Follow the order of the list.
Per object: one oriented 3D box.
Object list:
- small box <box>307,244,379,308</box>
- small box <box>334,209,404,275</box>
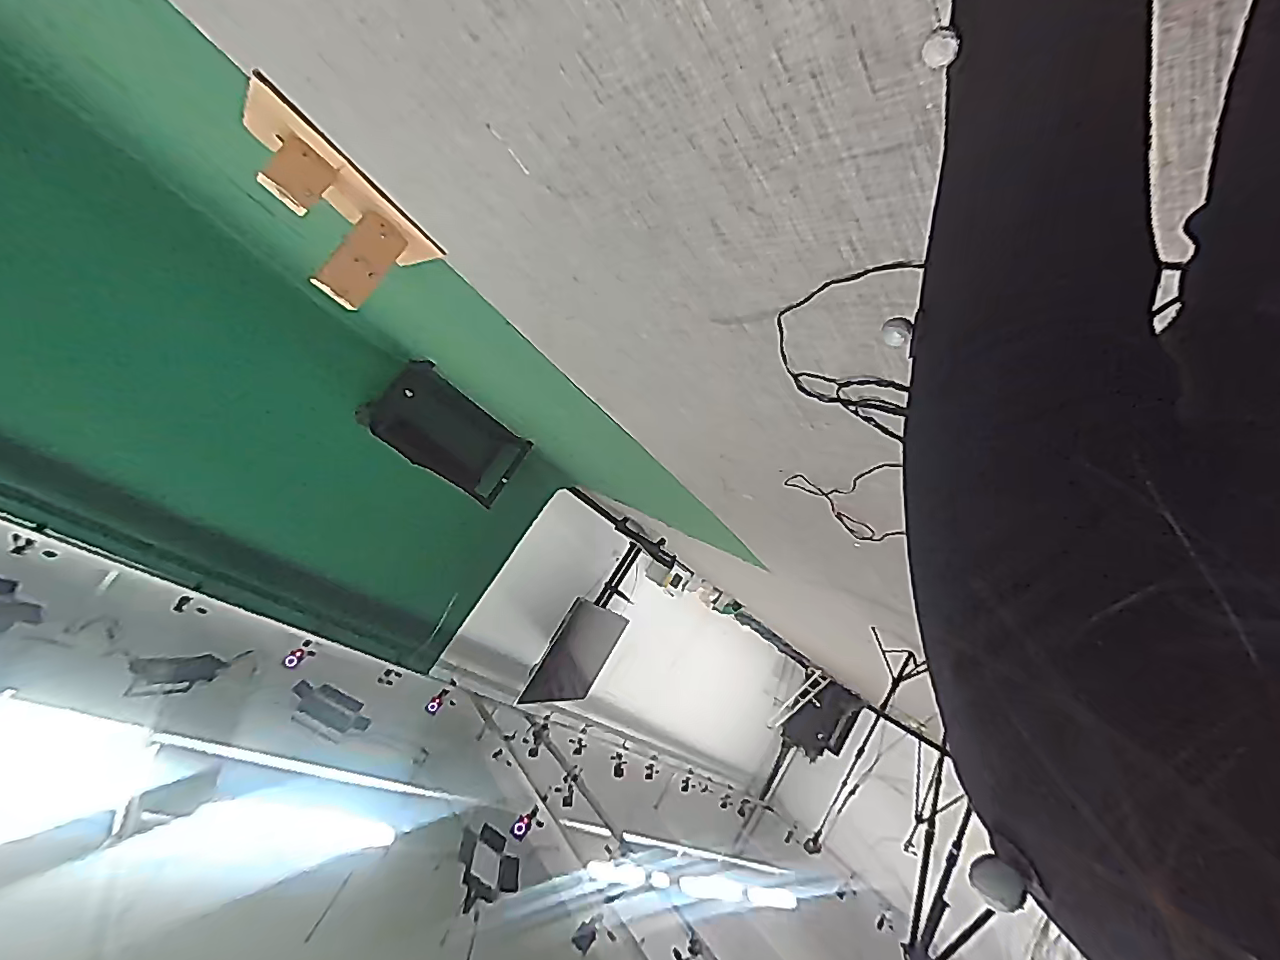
[{"bbox_3d":[-1.137,-0.782,2.075,0.179,0.176,0.168,23,167,49],"label":"small box"},{"bbox_3d":[-1.049,-0.919,2.100,0.168,0.176,0.179,39,168,-38],"label":"small box"}]
